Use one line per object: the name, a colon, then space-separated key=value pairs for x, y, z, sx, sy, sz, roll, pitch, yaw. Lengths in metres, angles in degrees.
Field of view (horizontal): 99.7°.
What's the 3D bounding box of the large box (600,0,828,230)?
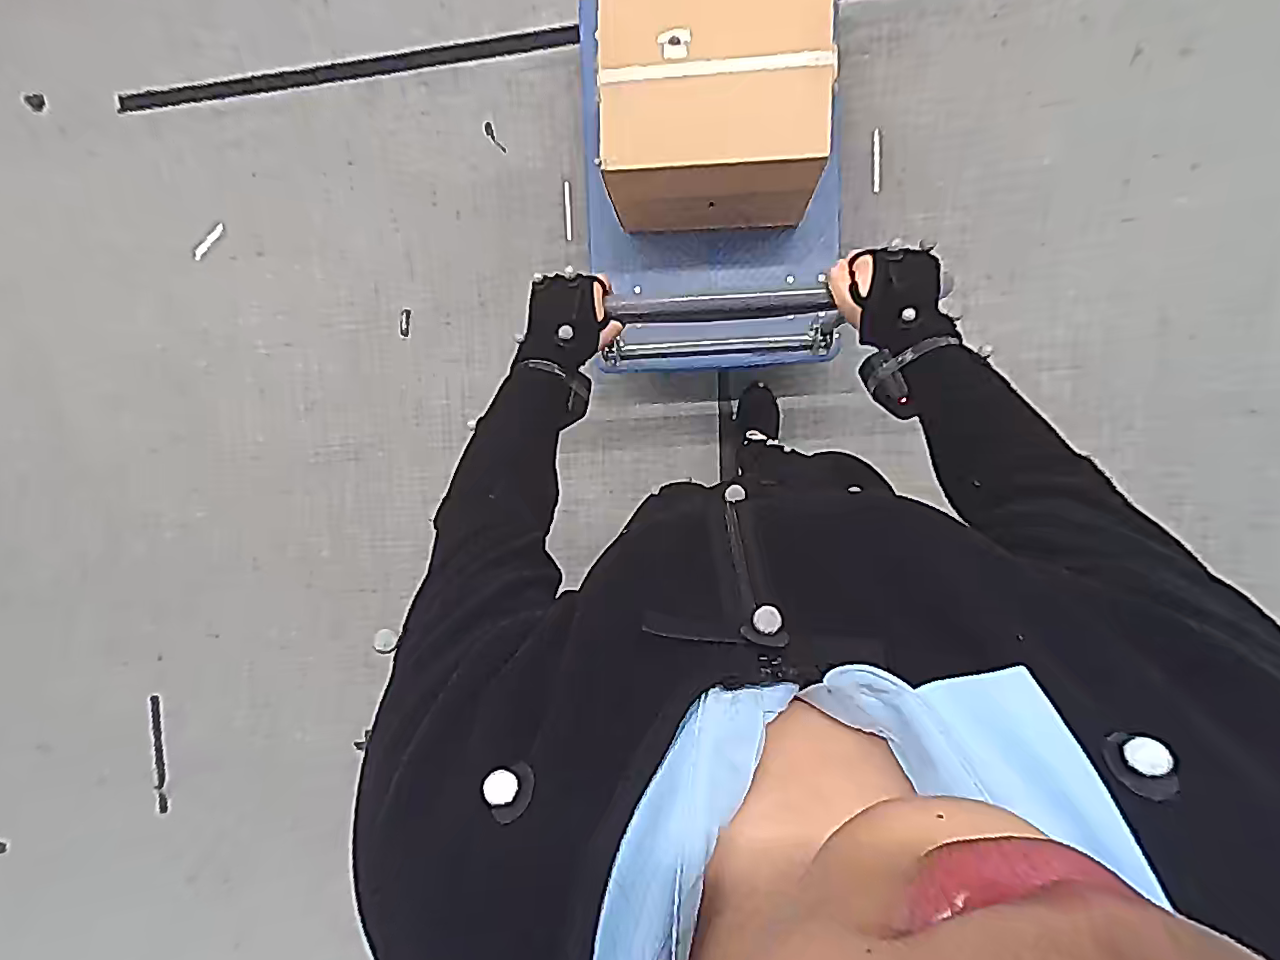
large box: x=0.147 y=-0.730 z=1.101 sx=0.408 sy=0.320 sz=0.320 roll=0 pitch=94 yaw=7
